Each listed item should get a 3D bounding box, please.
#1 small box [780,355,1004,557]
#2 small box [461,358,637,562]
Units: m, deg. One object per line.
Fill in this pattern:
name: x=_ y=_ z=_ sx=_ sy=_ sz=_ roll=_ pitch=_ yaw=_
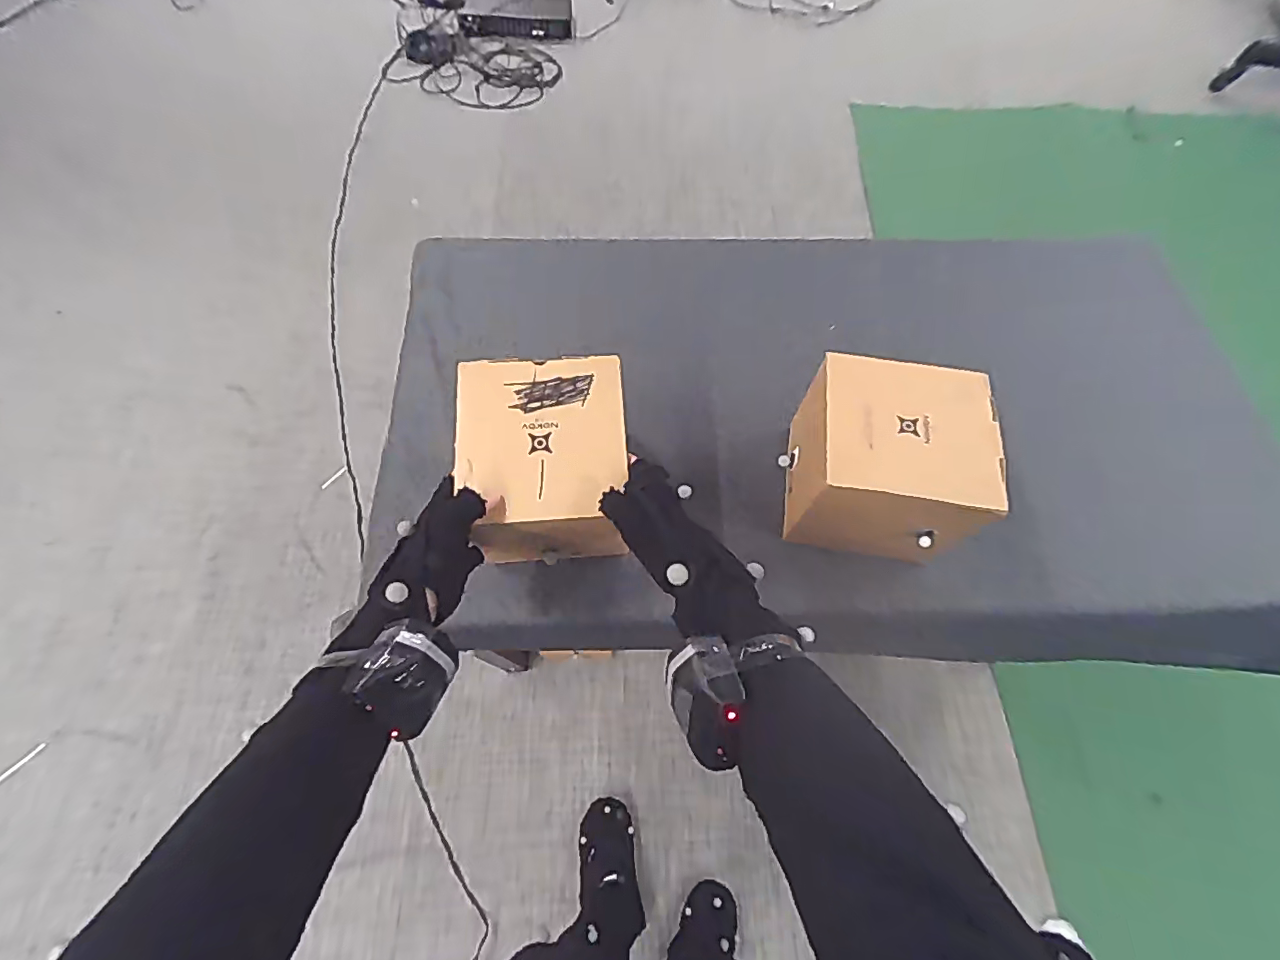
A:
small box: x=0.275 y=-0.019 z=0.628 sx=0.179 sy=0.176 sz=0.168 roll=8 pitch=64 yaw=2
small box: x=-0.094 y=-0.016 z=0.605 sx=0.168 sy=0.176 sz=0.179 roll=-4 pitch=70 yaw=-4
